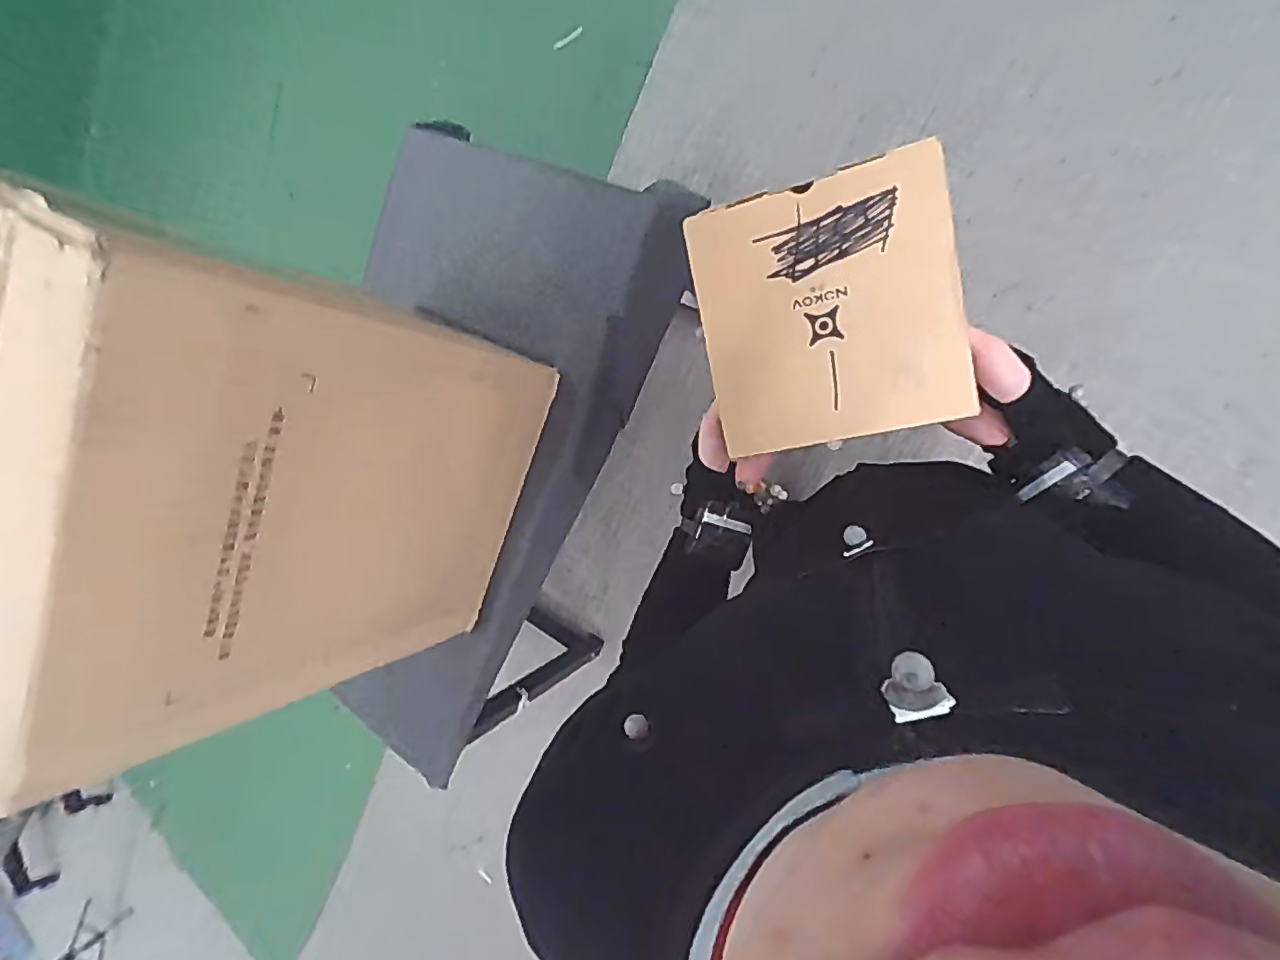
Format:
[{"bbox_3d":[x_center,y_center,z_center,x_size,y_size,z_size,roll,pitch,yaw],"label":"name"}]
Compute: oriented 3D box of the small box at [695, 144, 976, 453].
[{"bbox_3d":[0.151,-0.127,0.443,0.168,0.176,0.179,-9,97,19],"label":"small box"}]
